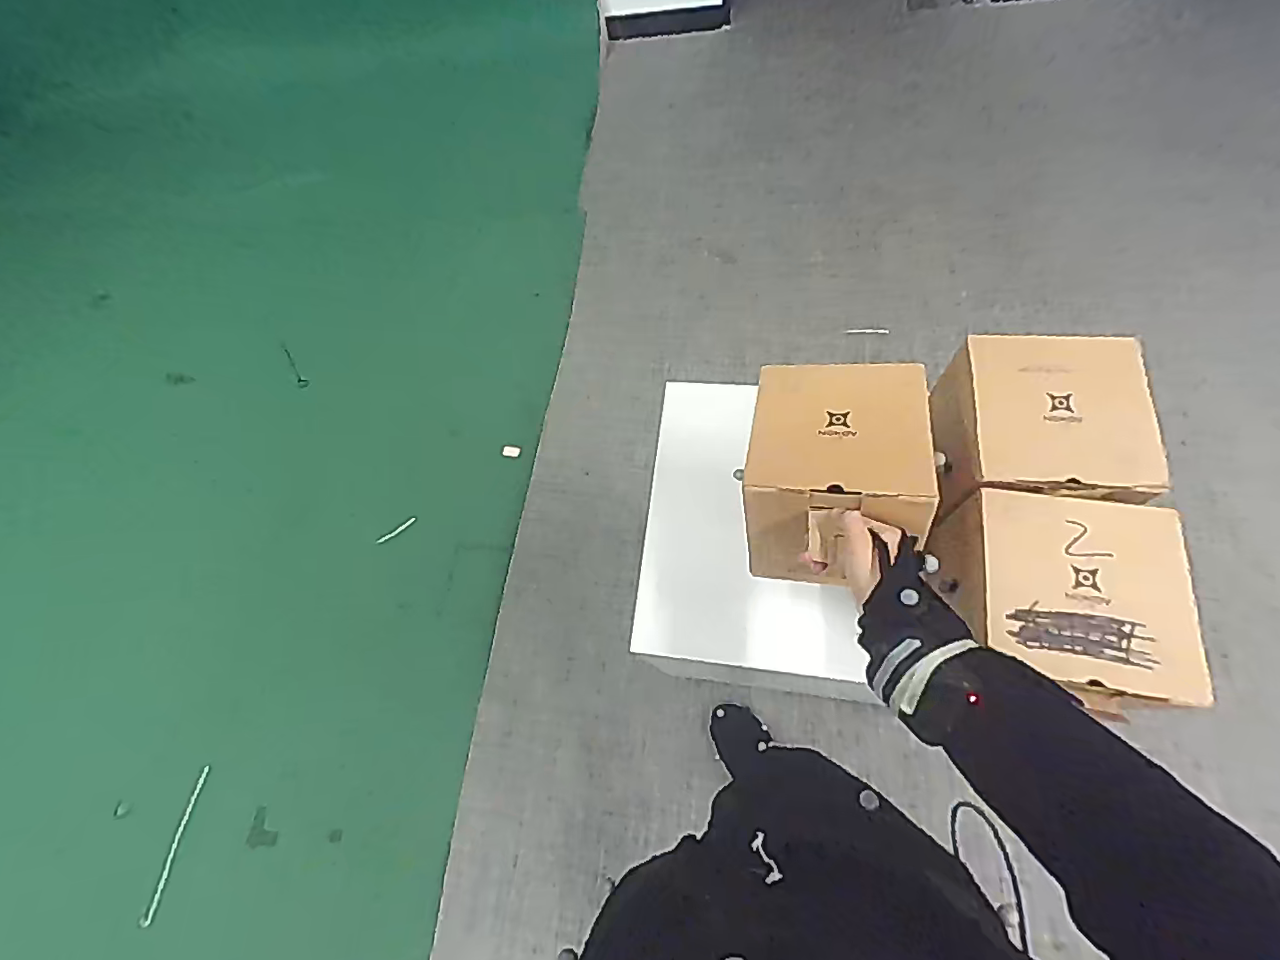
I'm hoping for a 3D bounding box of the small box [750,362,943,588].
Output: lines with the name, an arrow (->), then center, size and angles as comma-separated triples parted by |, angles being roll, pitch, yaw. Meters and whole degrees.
small box -> 0.214, -0.007, 0.588 | 0.168, 0.176, 0.179 | 4, 52, 18
